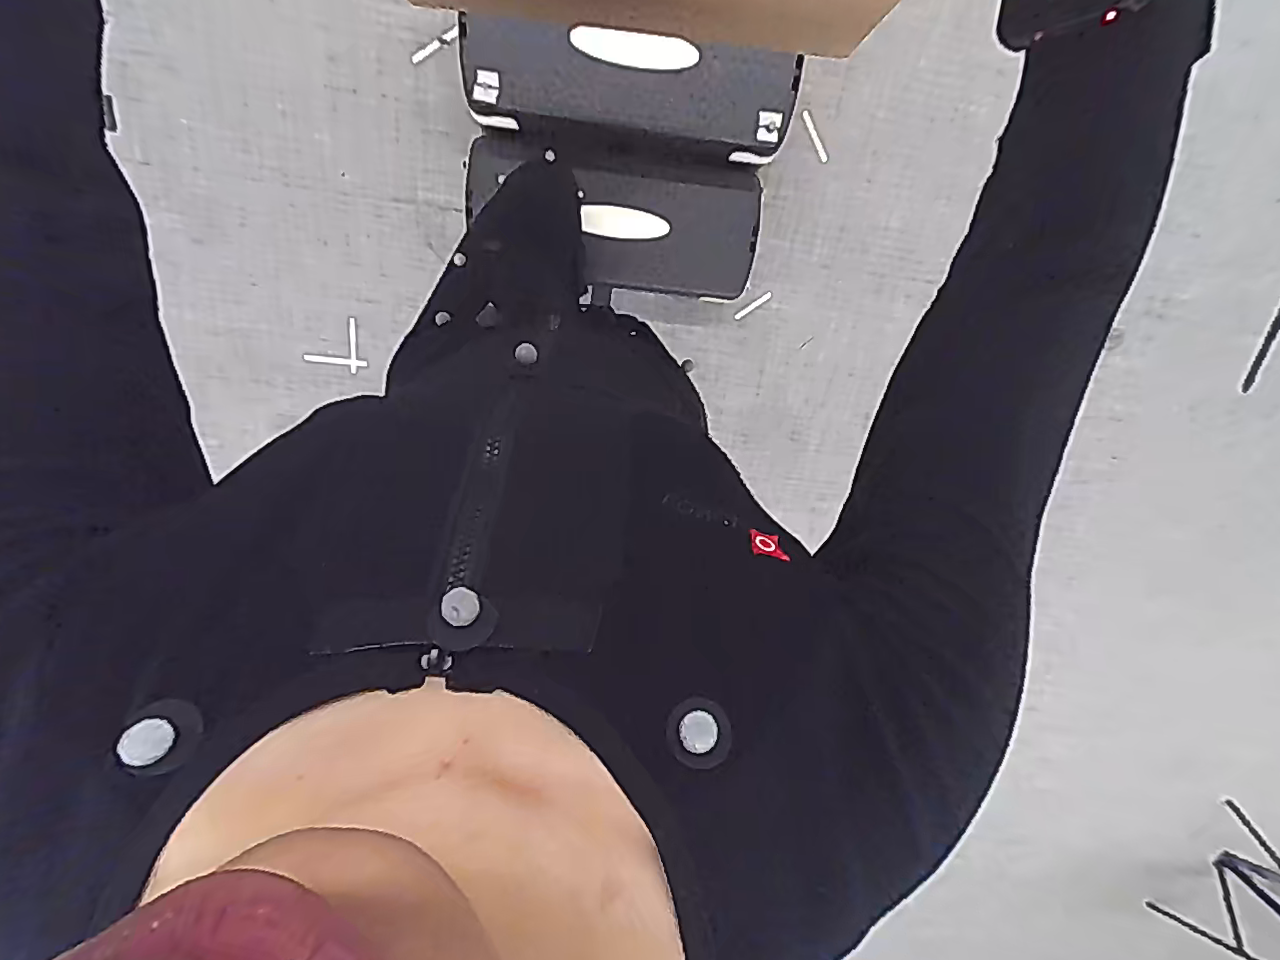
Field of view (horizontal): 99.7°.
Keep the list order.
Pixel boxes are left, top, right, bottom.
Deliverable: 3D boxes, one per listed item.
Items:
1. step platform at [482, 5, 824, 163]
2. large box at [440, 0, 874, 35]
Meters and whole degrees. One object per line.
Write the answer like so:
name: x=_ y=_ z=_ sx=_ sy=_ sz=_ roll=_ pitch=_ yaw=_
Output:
step platform: x=0.025 y=-0.871 z=1.123 sx=0.684 sy=0.204 sz=0.286 roll=4 pitch=110 yaw=-6
large box: x=0.008 y=-0.513 z=0.304 sx=0.408 sy=0.320 sz=0.320 roll=4 pitch=111 yaw=-3
